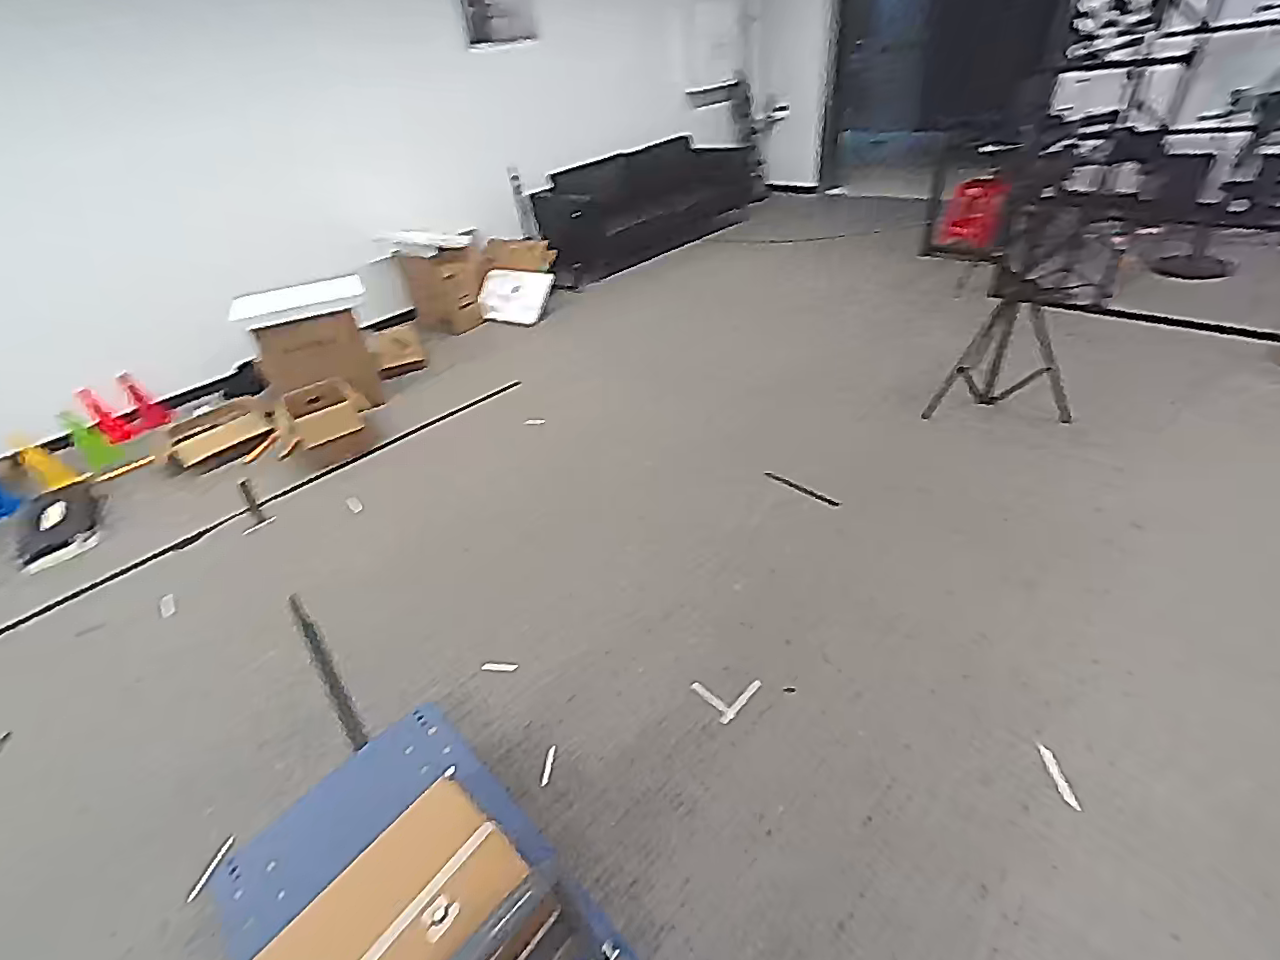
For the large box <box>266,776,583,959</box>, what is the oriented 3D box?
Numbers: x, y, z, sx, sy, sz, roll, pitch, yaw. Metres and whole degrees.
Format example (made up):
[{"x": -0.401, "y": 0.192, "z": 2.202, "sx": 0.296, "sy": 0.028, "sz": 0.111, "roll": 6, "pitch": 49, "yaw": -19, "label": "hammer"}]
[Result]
[{"x": -0.366, "y": 0.858, "z": 0.968, "sx": 0.320, "sy": 0.320, "sz": 0.408, "roll": 23, "pitch": 46, "yaw": 35, "label": "large box"}]
